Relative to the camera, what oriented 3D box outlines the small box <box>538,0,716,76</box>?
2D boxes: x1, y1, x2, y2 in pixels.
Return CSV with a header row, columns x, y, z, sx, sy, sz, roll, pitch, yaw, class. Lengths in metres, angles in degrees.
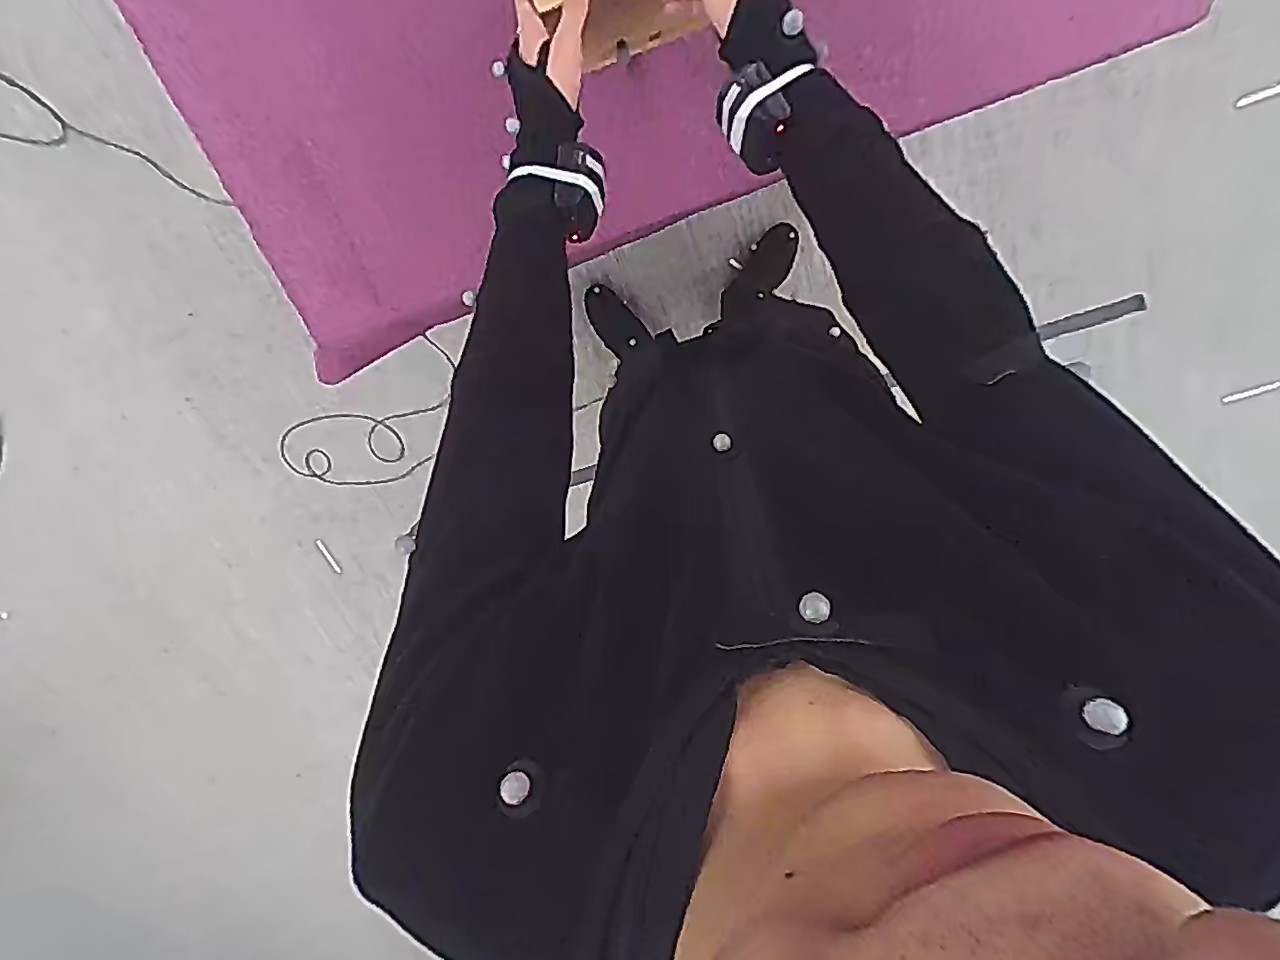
x,y,z,sx,sy,sz,roll,pitch,yaw,class
-0.027,-0.517,0.489,0.168,0.176,0.179,-15,109,9,small box
